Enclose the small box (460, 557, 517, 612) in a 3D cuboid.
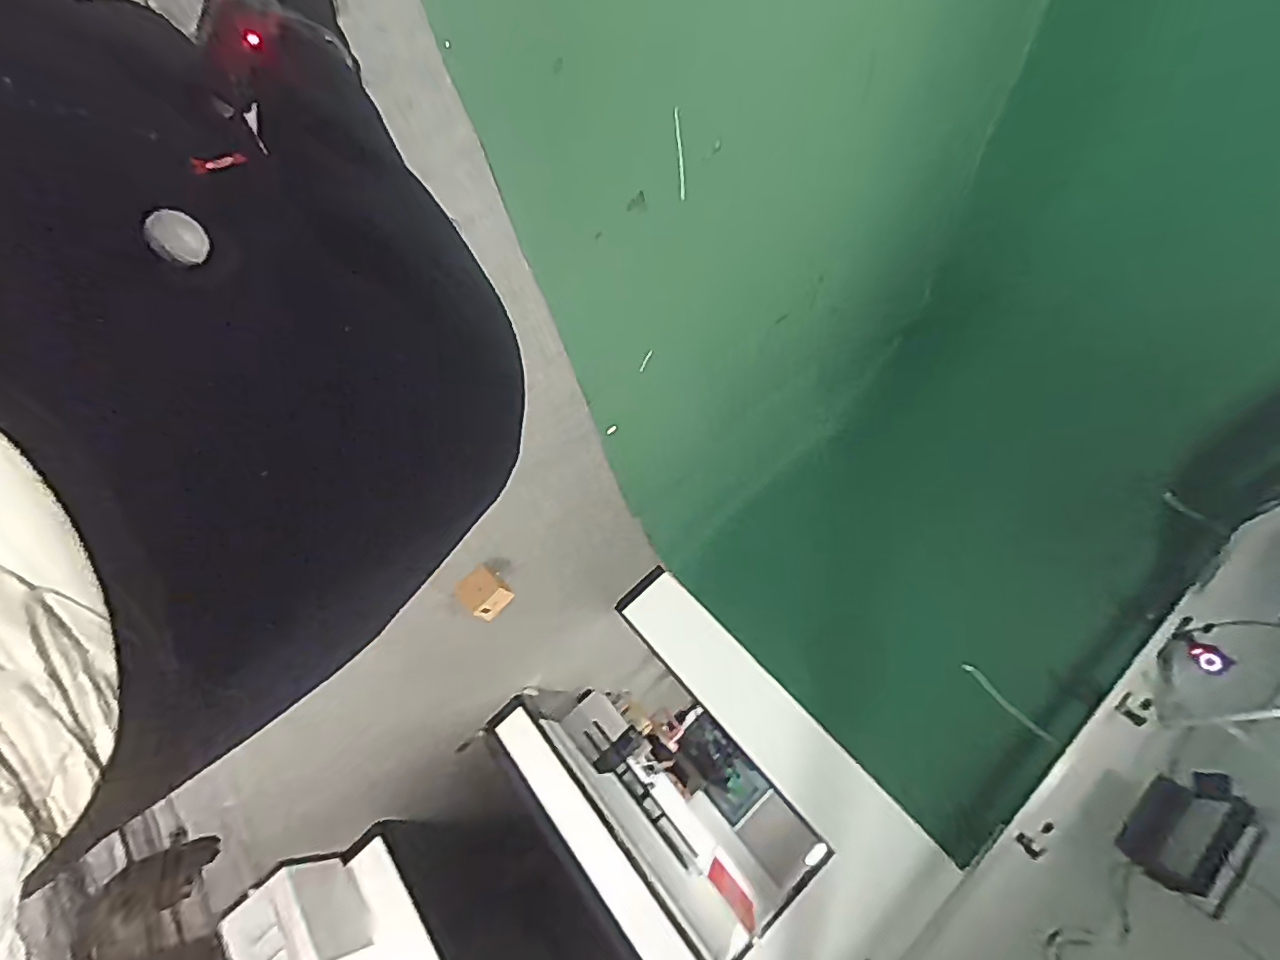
[{"bbox_3d":[-0.731,0.502,2.586,0.179,0.176,0.168,-45,153,-4],"label":"small box"}]
